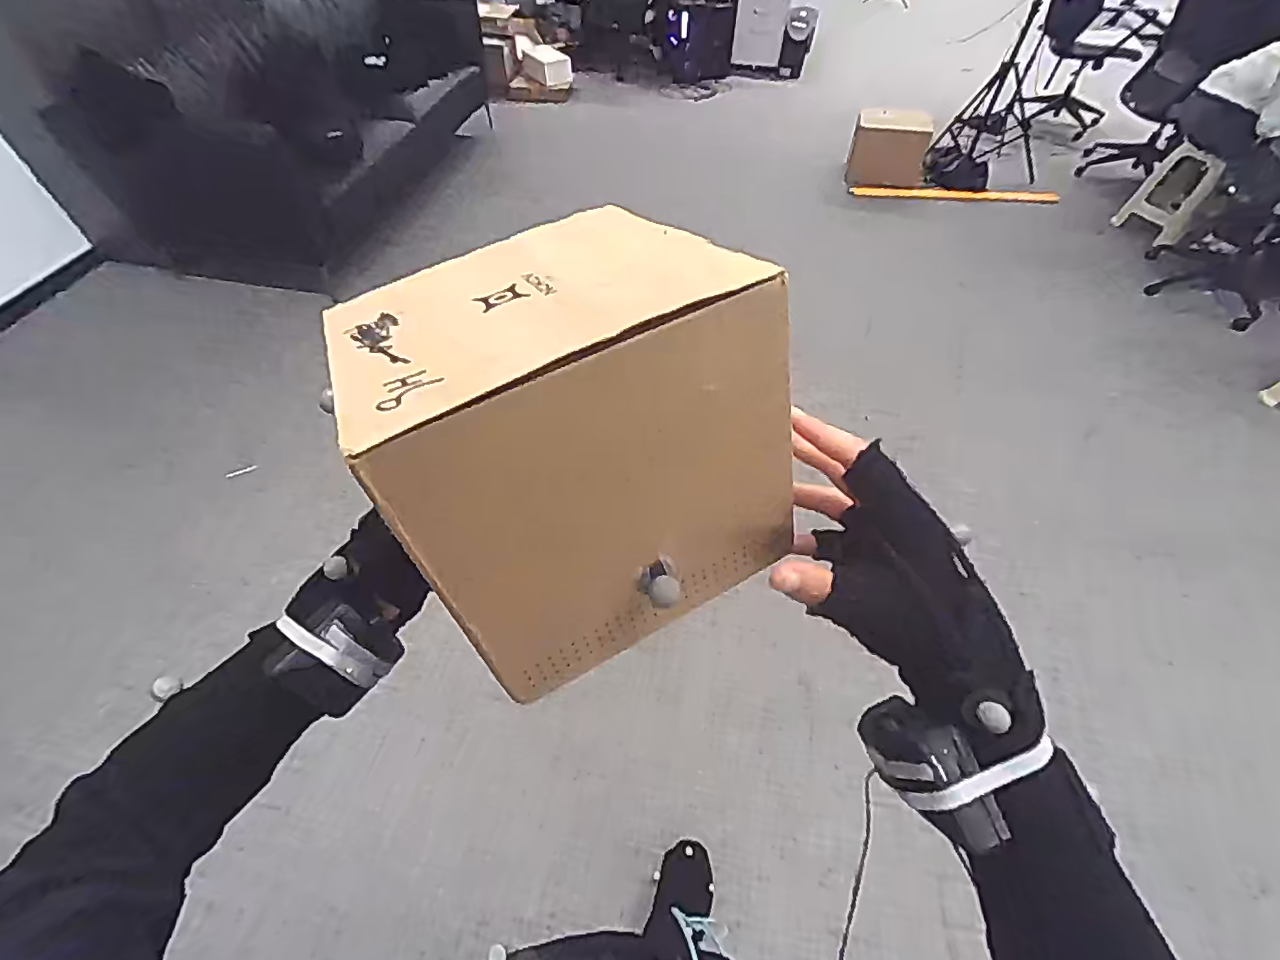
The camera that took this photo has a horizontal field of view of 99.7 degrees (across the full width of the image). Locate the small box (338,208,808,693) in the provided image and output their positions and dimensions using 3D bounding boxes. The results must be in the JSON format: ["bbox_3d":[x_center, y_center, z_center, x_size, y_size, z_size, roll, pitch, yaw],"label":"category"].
[{"bbox_3d":[-0.033,-0.025,0.296,0.179,0.176,0.168,-26,41,-15],"label":"small box"}]
